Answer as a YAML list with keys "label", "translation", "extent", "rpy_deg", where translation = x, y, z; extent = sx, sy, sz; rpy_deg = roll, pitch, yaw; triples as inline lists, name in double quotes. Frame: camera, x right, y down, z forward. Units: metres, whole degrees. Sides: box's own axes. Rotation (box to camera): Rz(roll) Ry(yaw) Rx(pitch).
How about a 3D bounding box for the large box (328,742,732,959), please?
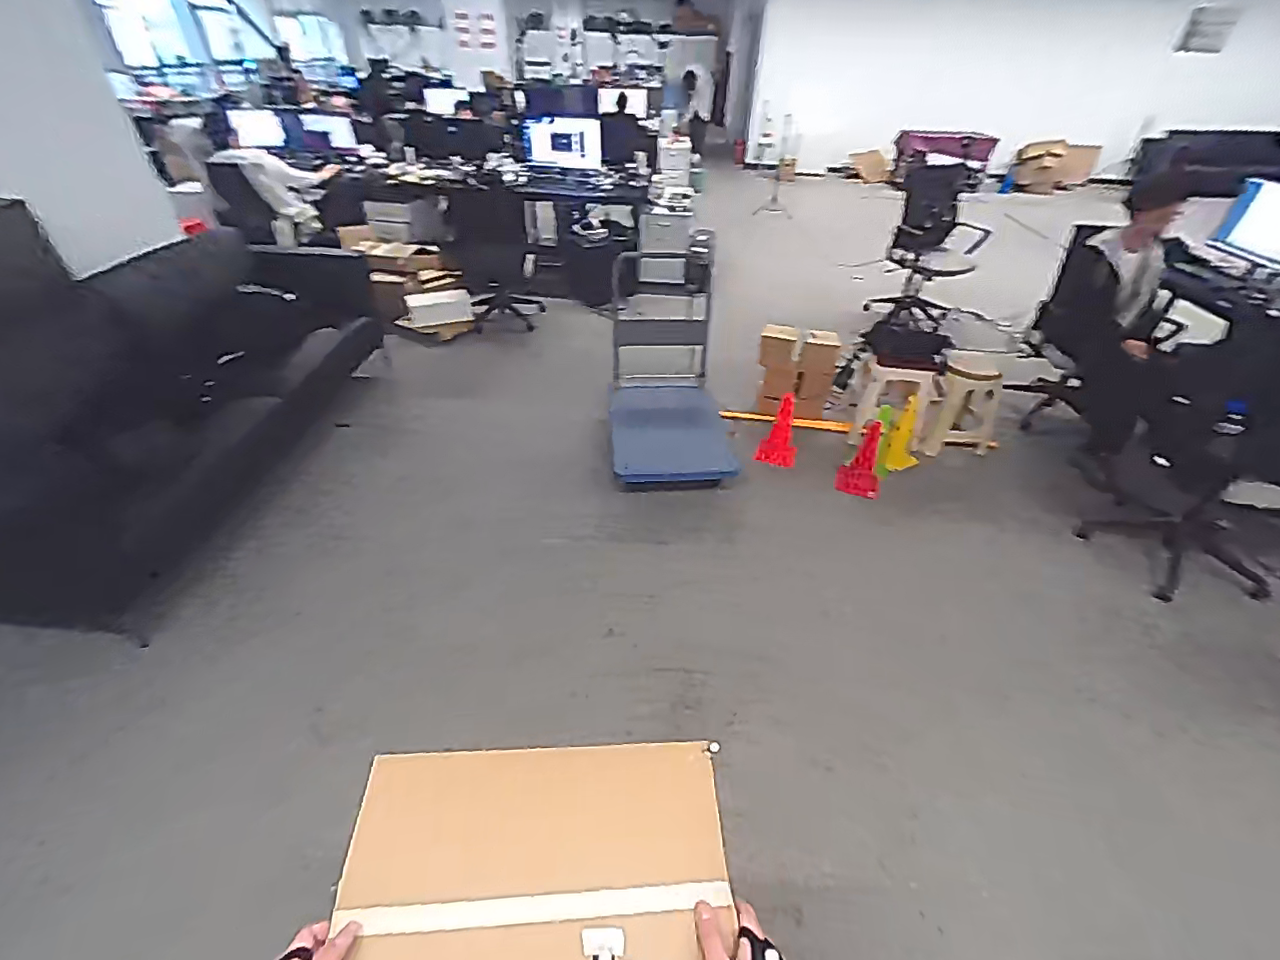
- label: "large box"
  translation: [-0.123, 0.554, 0.667]
  extent: [0.408, 0.320, 0.320]
  rpy_deg: [0, 45, -7]
